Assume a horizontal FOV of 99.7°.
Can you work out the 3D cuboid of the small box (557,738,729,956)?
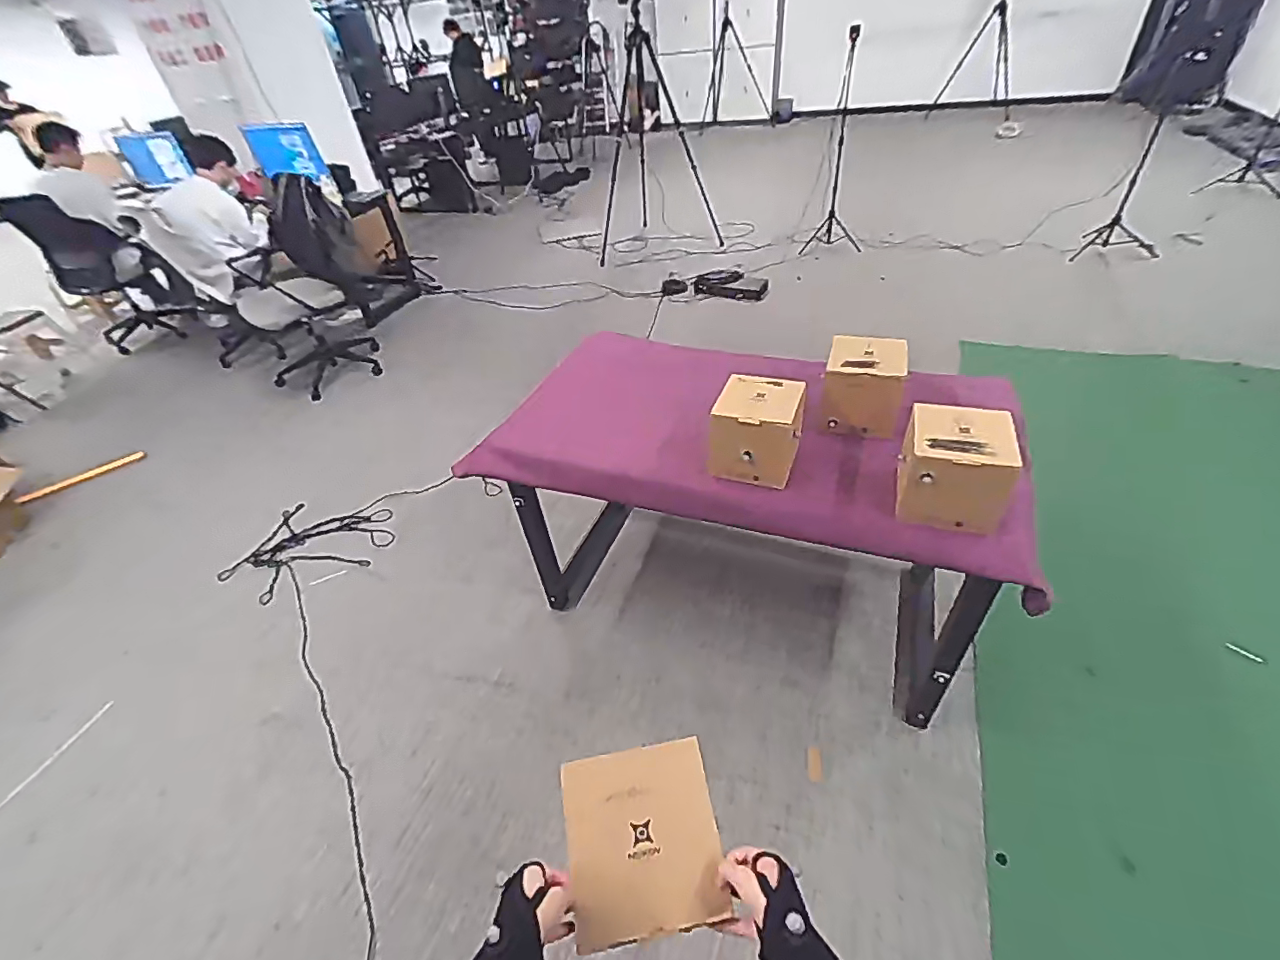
[{"bbox_3d":[-0.004,0.425,0.651,0.168,0.176,0.179,-7,60,-8],"label":"small box"}]

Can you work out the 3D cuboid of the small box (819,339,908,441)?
[{"bbox_3d":[0.522,-0.211,1.269,0.168,0.176,0.179,10,43,19],"label":"small box"}]

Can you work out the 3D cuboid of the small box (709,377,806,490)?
[{"bbox_3d":[0.256,-0.101,1.177,0.168,0.176,0.179,12,43,21],"label":"small box"}]
